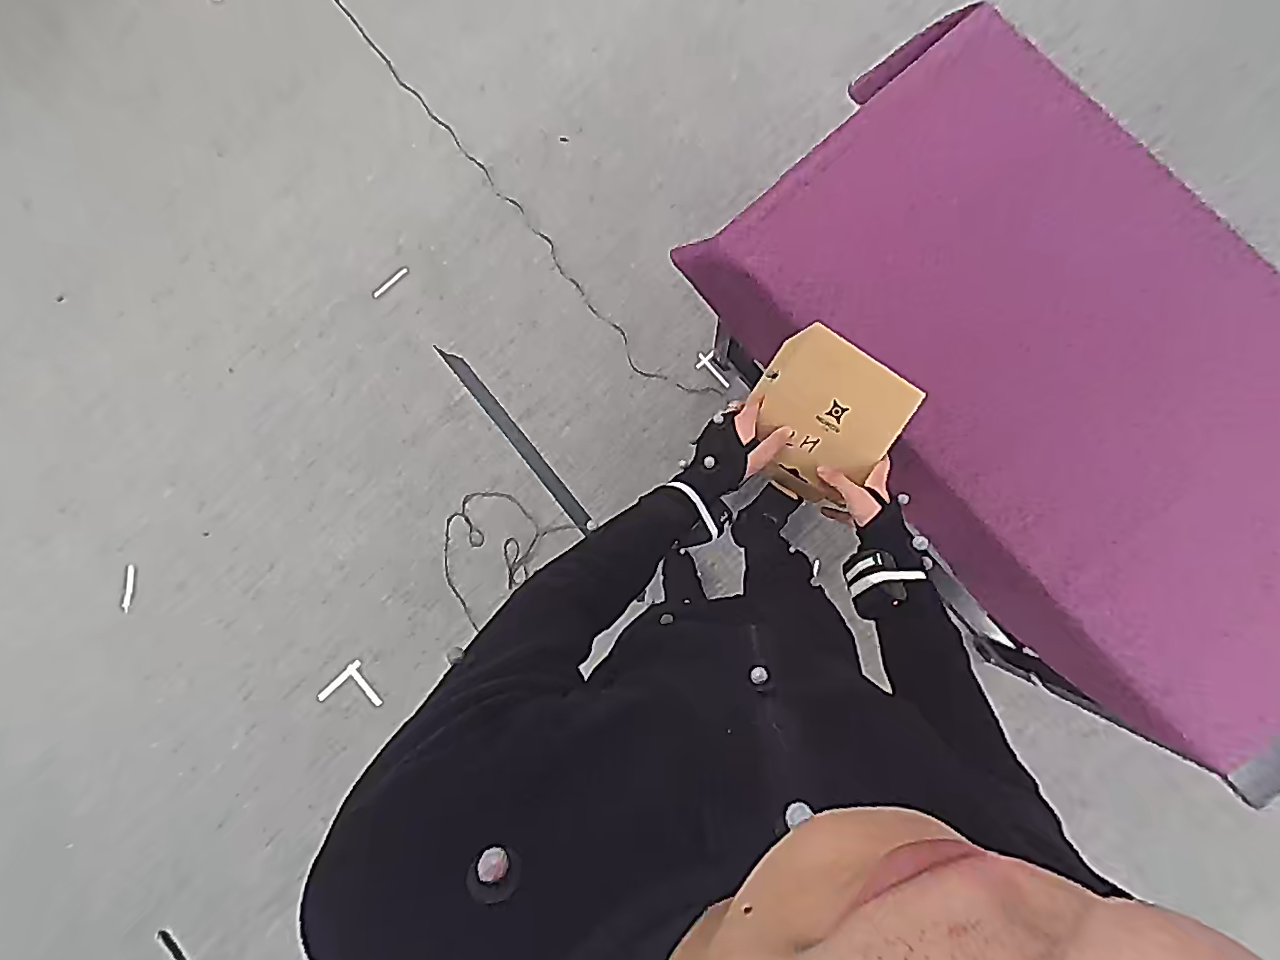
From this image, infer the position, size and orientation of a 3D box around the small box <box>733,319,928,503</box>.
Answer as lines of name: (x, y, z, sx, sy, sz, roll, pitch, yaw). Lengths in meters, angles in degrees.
small box: (0.248, -0.094, 0.756, 0.168, 0.176, 0.179, 34, 97, -2)
